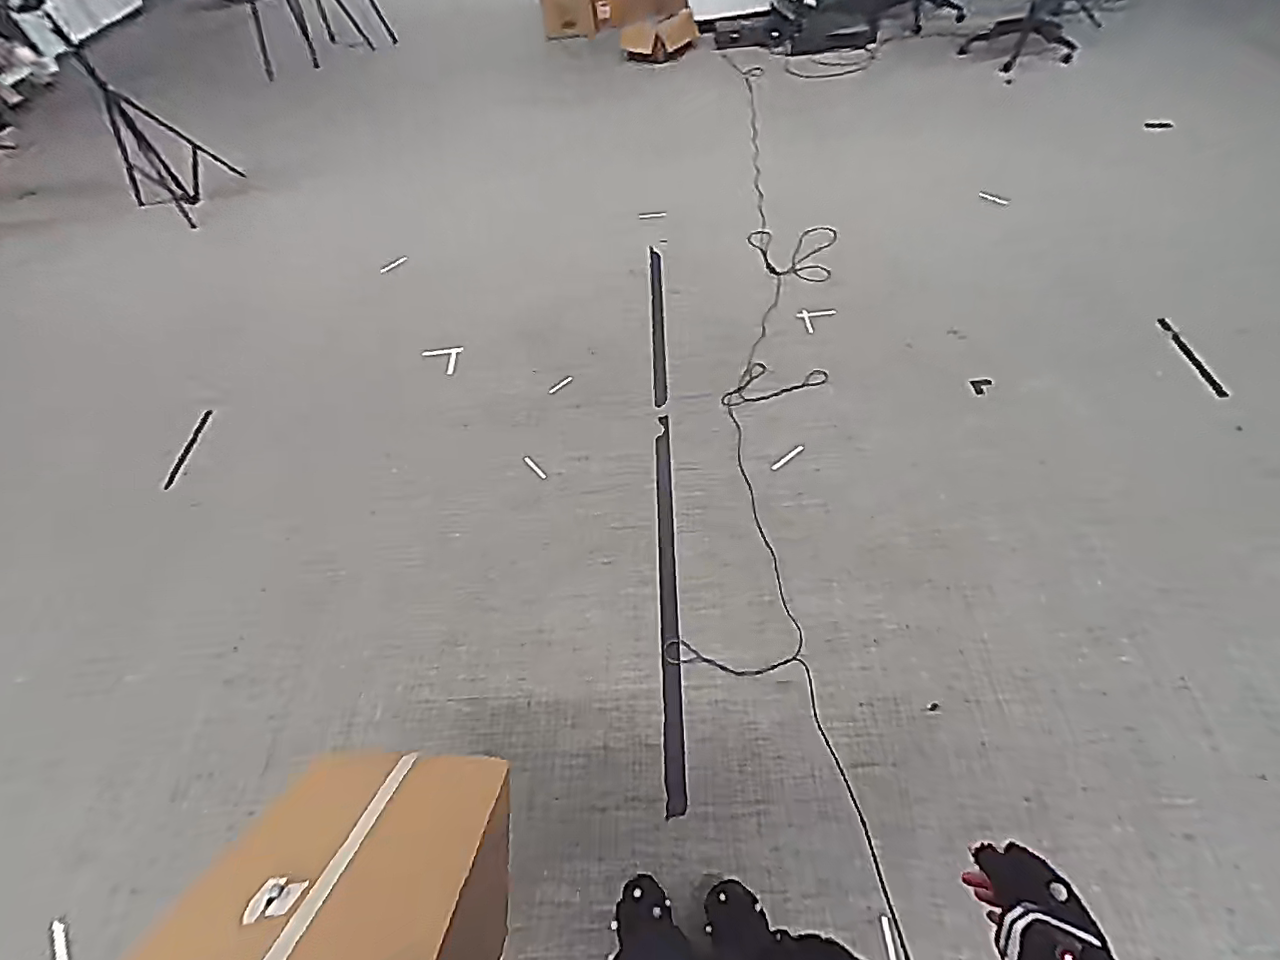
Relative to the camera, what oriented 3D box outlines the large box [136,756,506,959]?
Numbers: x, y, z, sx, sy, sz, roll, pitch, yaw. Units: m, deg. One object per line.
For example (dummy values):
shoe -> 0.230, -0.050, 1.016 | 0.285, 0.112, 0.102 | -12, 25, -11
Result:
large box -> -0.377, 0.634, 0.707 | 0.320, 0.408, 0.320 | 2, 98, 1
